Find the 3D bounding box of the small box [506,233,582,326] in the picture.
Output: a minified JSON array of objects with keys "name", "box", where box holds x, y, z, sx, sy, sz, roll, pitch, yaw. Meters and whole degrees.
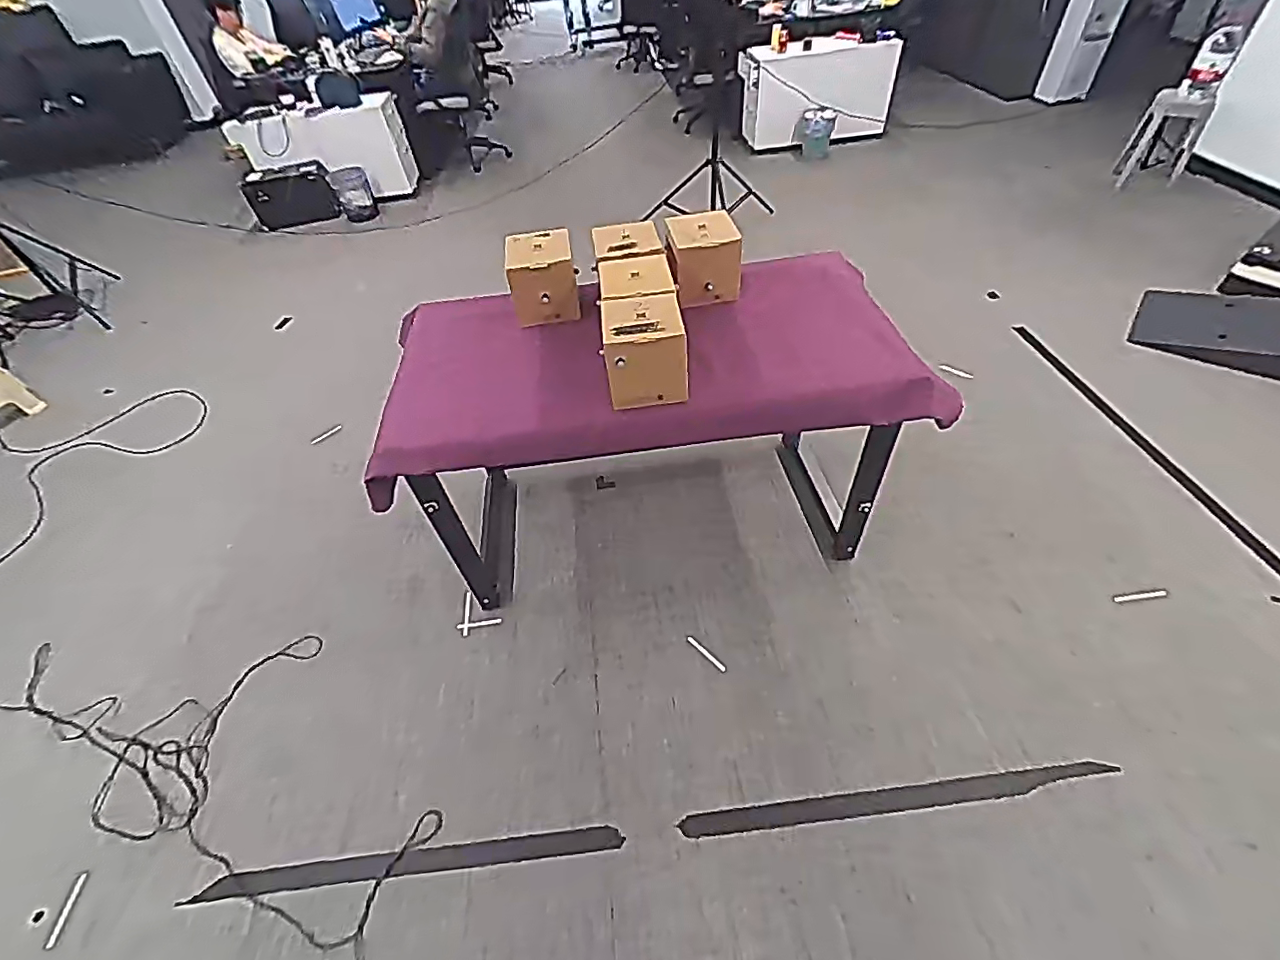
[{"name":"small box","box":[-0.251,-0.522,1.429,0.168,0.176,0.179,-9,50,-2]}]
